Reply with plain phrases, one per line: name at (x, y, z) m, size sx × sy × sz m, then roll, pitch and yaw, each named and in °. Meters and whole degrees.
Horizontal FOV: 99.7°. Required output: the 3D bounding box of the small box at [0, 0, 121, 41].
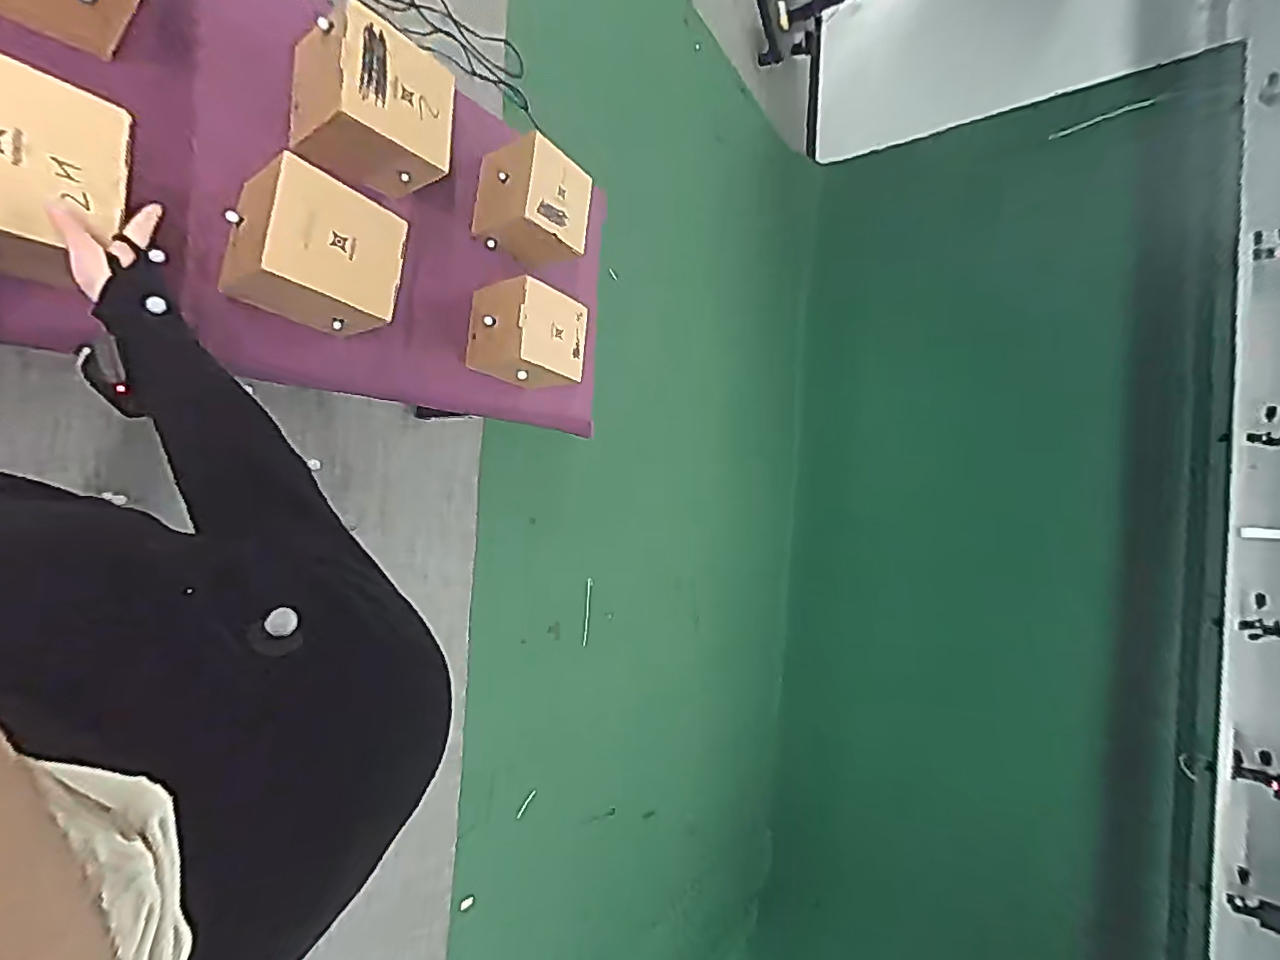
small box at (-0.647, -0.603, 0.547) m, size 0.179 × 0.176 × 0.168 m, roll -3°, pitch 95°, yaw -55°

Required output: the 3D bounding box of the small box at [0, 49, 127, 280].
small box at (-0.661, -0.318, 0.544) m, size 0.179 × 0.176 × 0.168 m, roll 6°, pitch 87°, yaw -54°

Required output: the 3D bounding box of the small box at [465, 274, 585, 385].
small box at (-0.241, -0.301, 1.126) m, size 0.179 × 0.176 × 0.168 m, roll 12°, pitch 82°, yaw -53°

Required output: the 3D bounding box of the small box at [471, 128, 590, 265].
small box at (-0.228, -0.572, 1.124) m, size 0.168 × 0.176 × 0.179 m, roll 14°, pitch 81°, yaw -54°

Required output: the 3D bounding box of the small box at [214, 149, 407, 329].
small box at (-0.481, -0.335, 0.795) m, size 0.179 × 0.176 × 0.168 m, roll 17°, pitch 77°, yaw -52°
